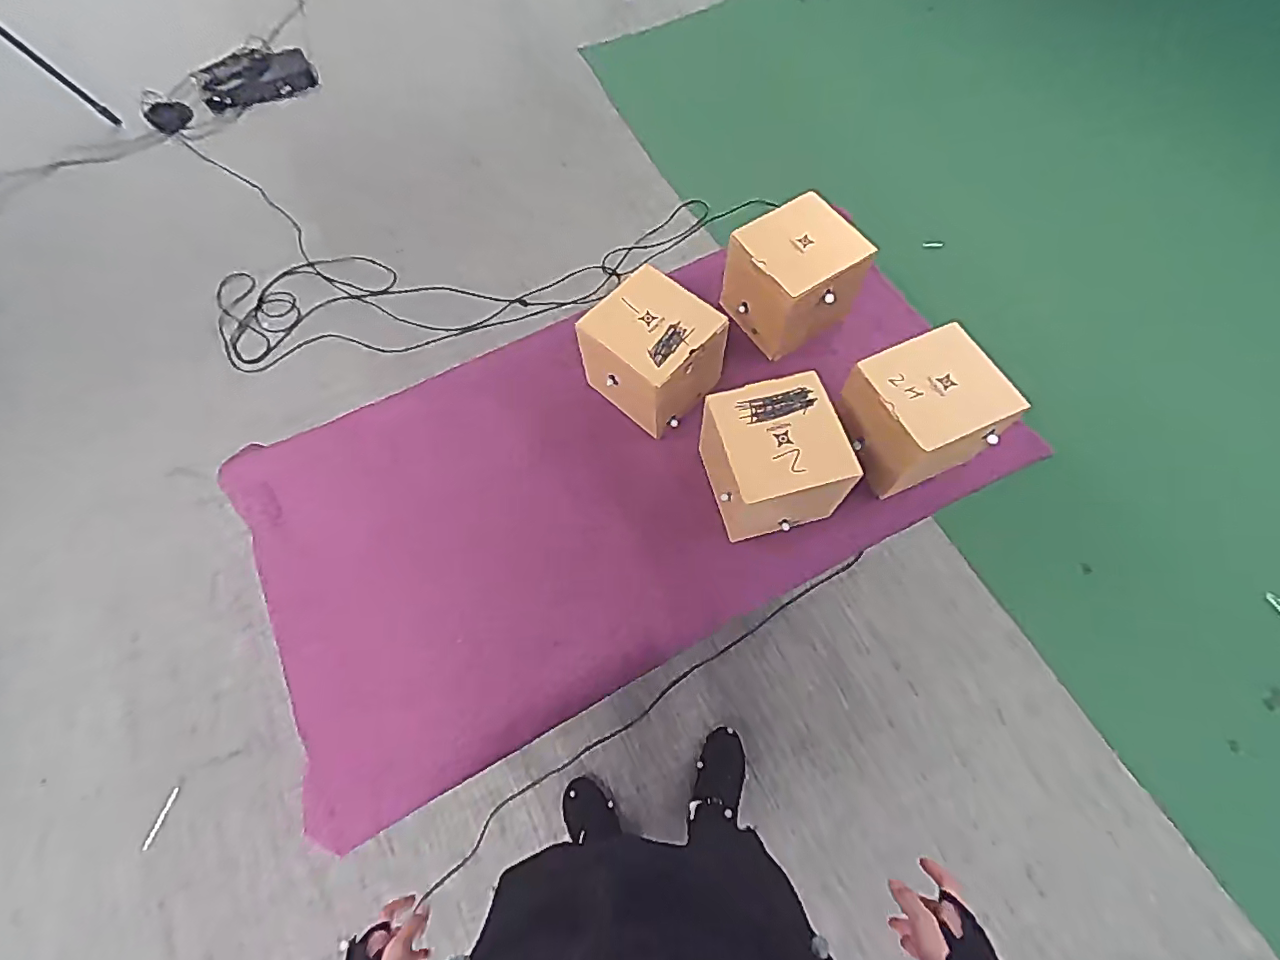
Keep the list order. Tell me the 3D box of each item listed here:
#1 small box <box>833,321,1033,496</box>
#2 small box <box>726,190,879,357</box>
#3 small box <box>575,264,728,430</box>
[{"bbox_3d":[0.425,-0.101,0.821,0.179,0.176,0.168,-23,66,-6],"label":"small box"},{"bbox_3d":[0.267,-0.351,0.939,0.179,0.176,0.168,-32,70,-9],"label":"small box"},{"bbox_3d":[0.021,-0.206,0.889,0.179,0.176,0.168,41,74,17],"label":"small box"}]
